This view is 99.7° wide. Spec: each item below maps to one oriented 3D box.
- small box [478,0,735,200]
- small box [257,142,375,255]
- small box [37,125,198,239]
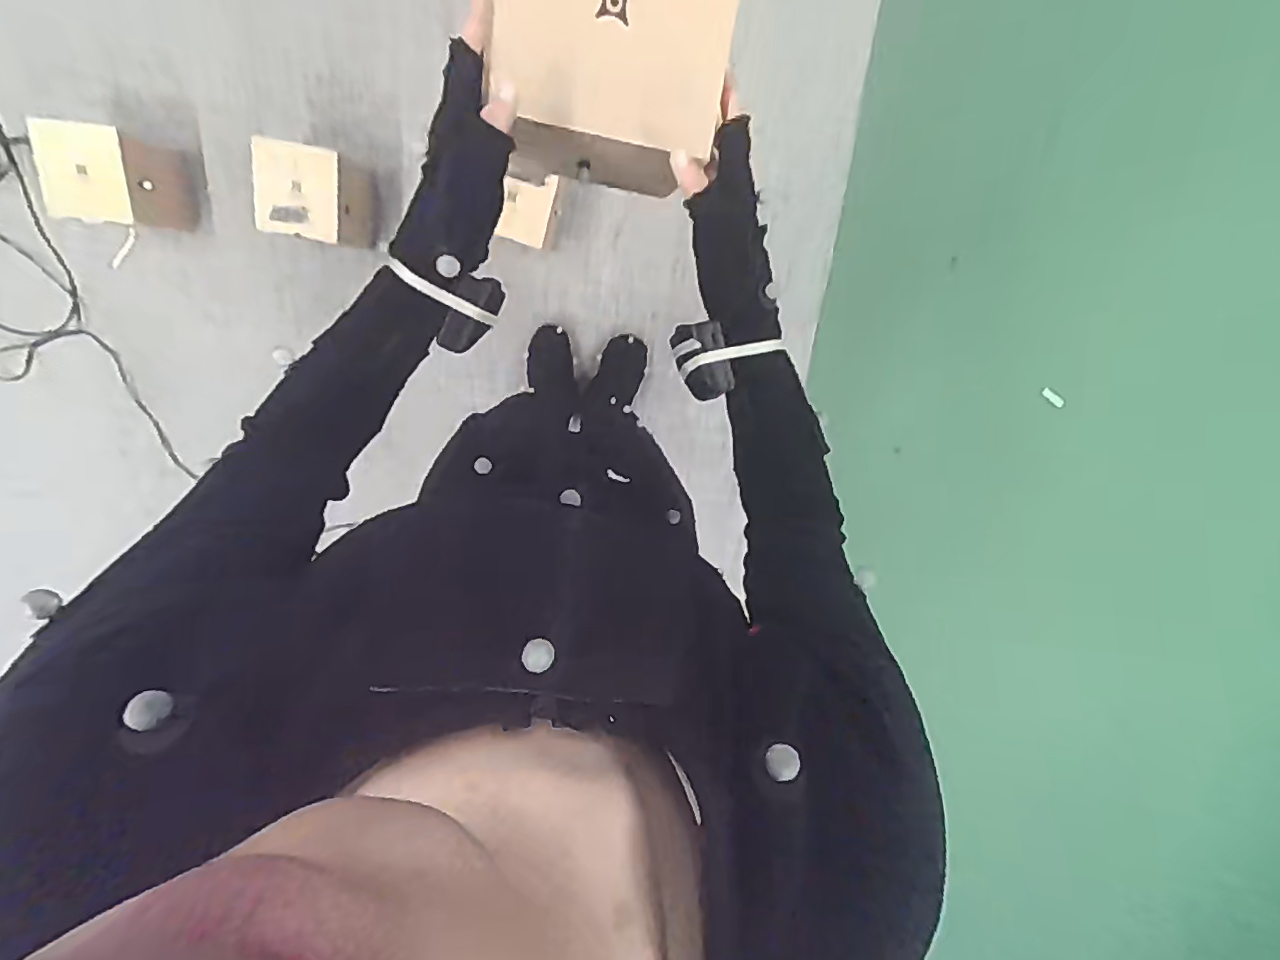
[{"bbox_3d":[-0.029,-0.344,0.435,0.168,0.176,0.179,6,106,-11],"label":"small box"},{"bbox_3d":[-0.693,-0.598,1.174,0.168,0.176,0.179,9,107,-5],"label":"small box"},{"bbox_3d":[-1.095,-0.622,1.149,0.168,0.176,0.179,4,109,-4],"label":"small box"}]
